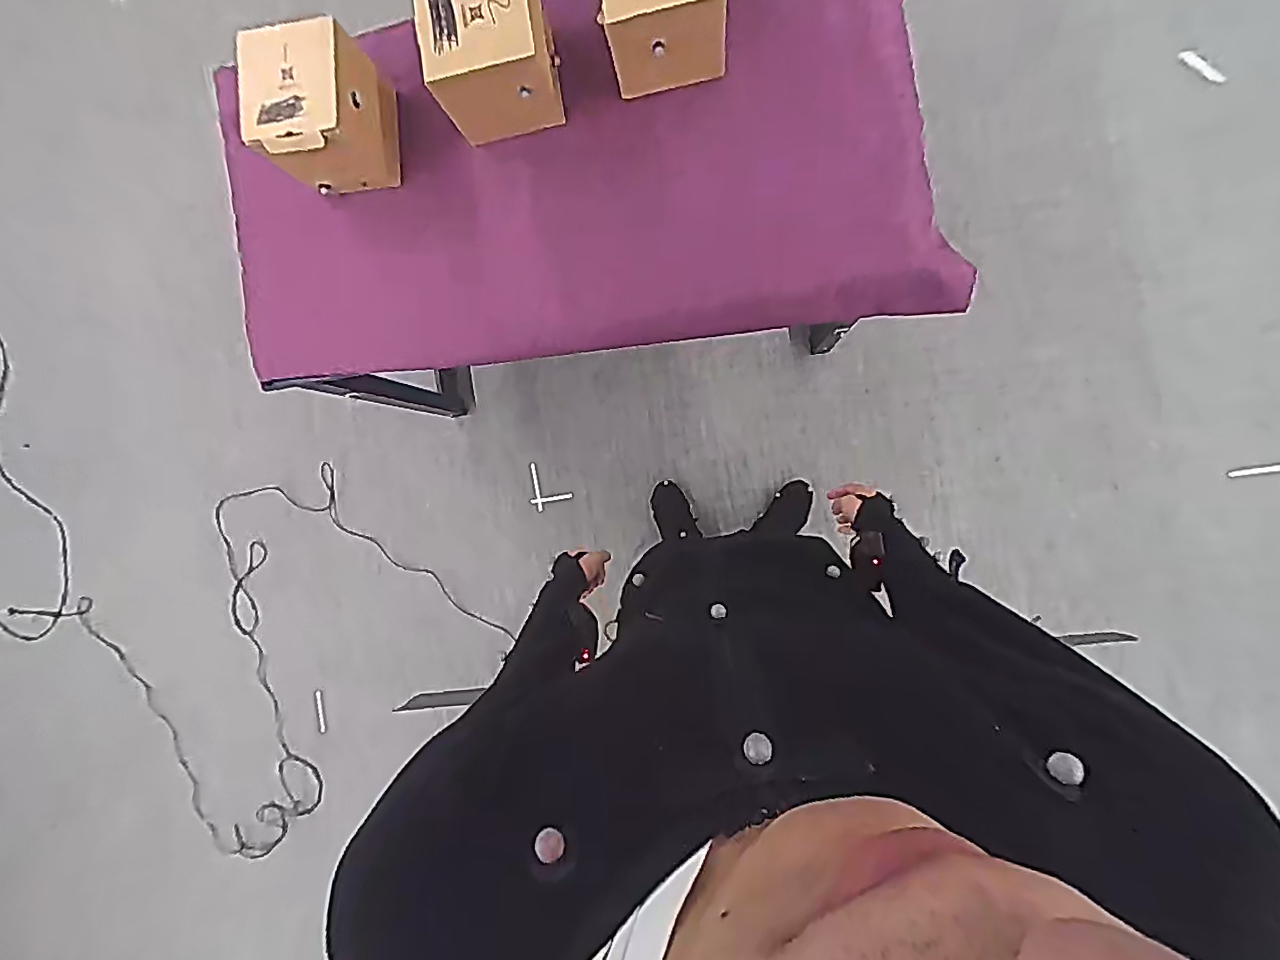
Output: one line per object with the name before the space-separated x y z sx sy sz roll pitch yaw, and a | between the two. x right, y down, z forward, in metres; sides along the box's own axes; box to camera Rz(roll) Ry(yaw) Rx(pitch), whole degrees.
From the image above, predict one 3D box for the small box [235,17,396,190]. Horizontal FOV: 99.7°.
small box | -0.529 -0.610 0.904 0.168 0.176 0.179 -3 91 7
